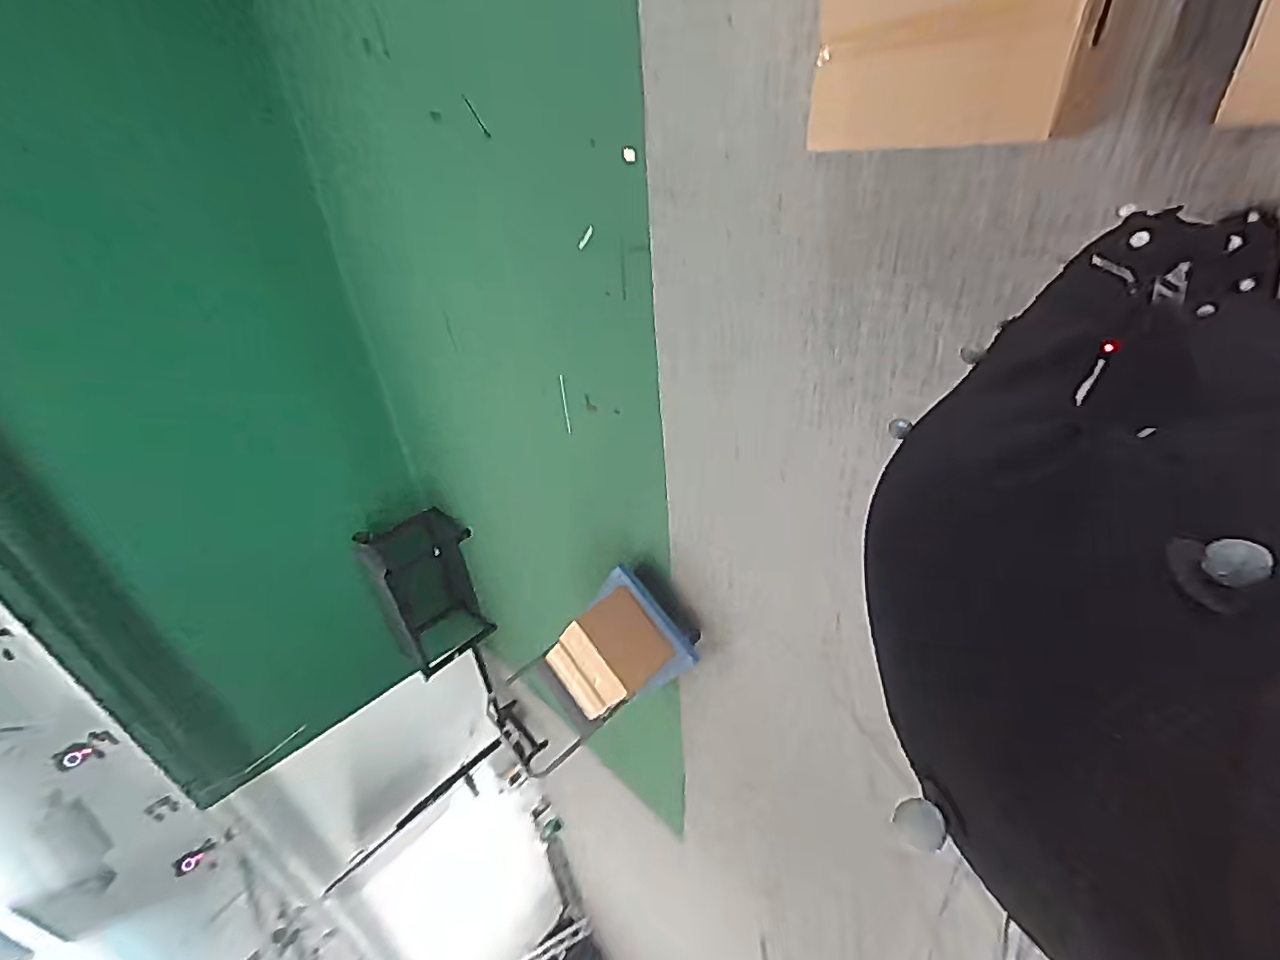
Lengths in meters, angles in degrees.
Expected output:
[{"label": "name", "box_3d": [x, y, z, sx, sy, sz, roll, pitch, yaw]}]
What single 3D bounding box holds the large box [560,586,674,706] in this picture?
[{"label": "large box", "box_3d": [-0.116, 0.787, 2.574, 0.408, 0.320, 0.320, 50, 144, 12]}]
